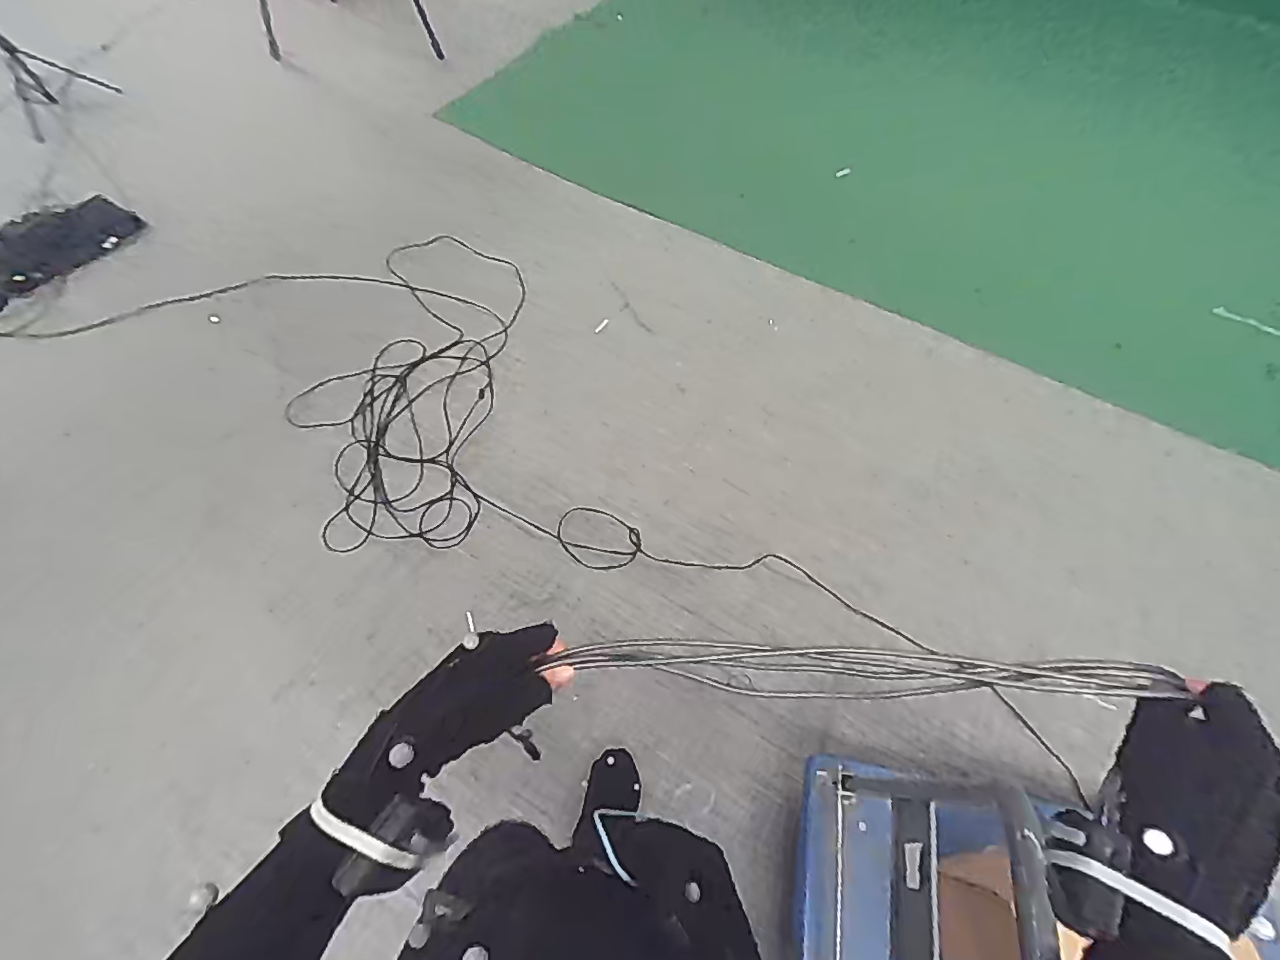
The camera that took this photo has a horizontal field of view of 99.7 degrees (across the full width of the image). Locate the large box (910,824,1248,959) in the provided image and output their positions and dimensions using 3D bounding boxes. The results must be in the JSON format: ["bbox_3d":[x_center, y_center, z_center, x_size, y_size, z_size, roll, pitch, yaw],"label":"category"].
[{"bbox_3d":[0.704,0.807,0.840,0.320,0.320,0.408,-9,62,-6],"label":"large box"}]
